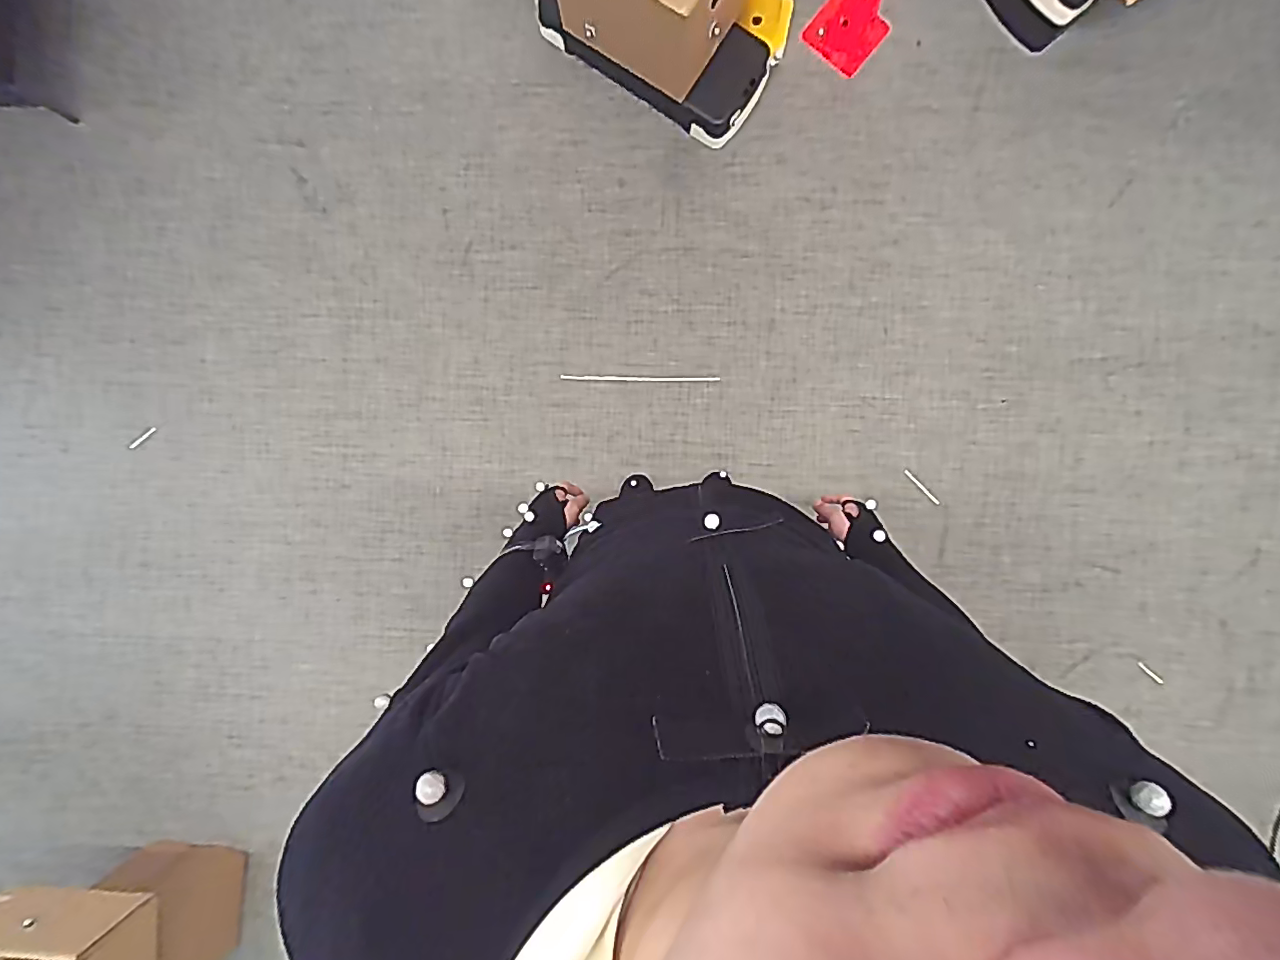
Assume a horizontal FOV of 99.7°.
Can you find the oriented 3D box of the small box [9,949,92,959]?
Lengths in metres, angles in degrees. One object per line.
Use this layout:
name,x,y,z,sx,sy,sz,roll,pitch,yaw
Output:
small box,-1.384,1.188,1.193,0.179,0.176,0.168,4,90,1
